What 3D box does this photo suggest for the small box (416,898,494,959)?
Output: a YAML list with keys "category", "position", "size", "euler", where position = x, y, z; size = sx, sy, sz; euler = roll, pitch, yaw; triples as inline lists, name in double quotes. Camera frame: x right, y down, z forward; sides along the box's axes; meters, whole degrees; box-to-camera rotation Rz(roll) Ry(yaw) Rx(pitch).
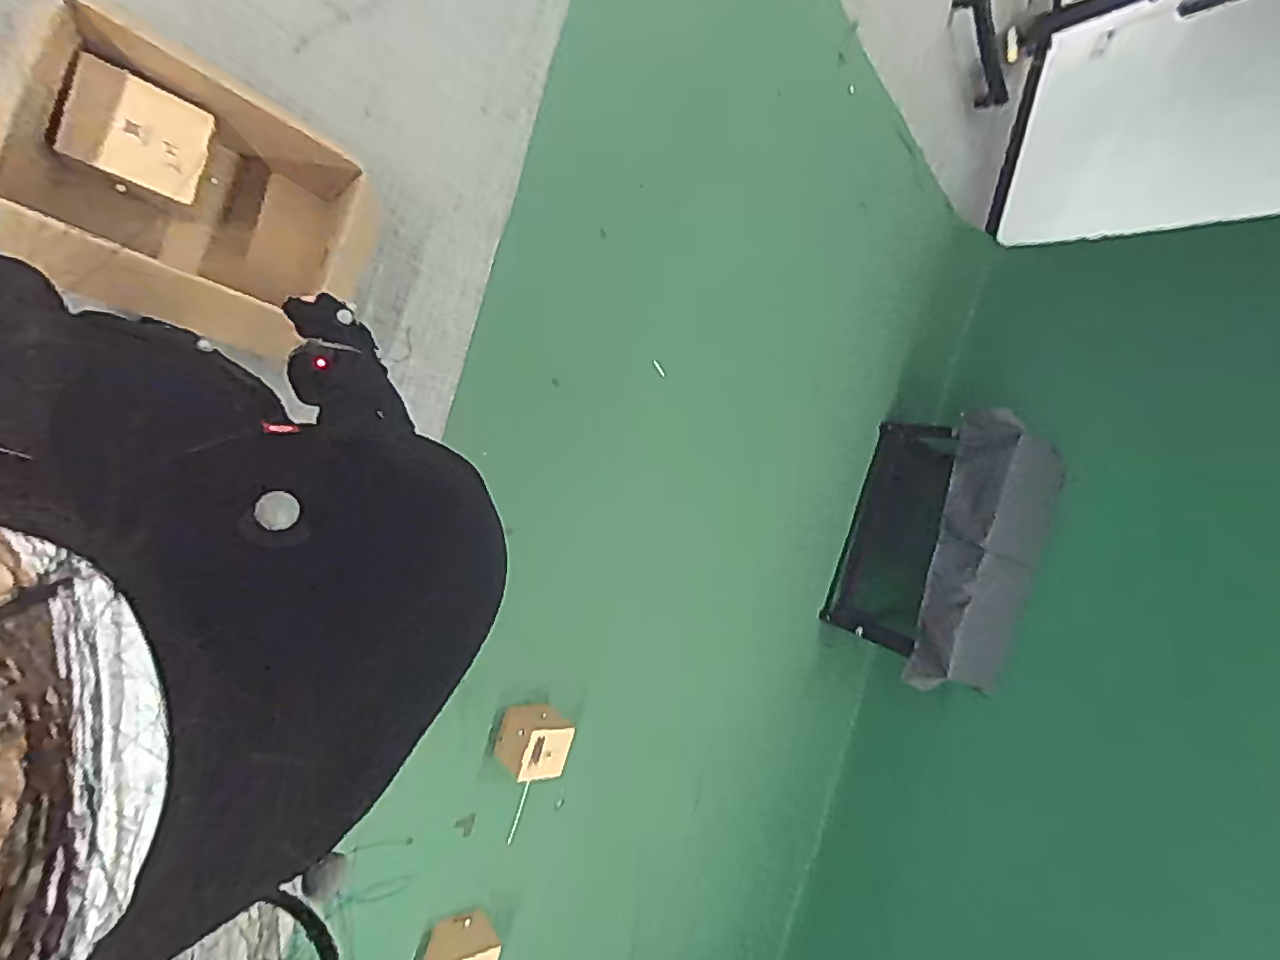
- category: "small box"
  position: [-0.614, 1.538, 1.778]
  size: [0.168, 0.176, 0.179]
  euler: [20, 87, -43]
